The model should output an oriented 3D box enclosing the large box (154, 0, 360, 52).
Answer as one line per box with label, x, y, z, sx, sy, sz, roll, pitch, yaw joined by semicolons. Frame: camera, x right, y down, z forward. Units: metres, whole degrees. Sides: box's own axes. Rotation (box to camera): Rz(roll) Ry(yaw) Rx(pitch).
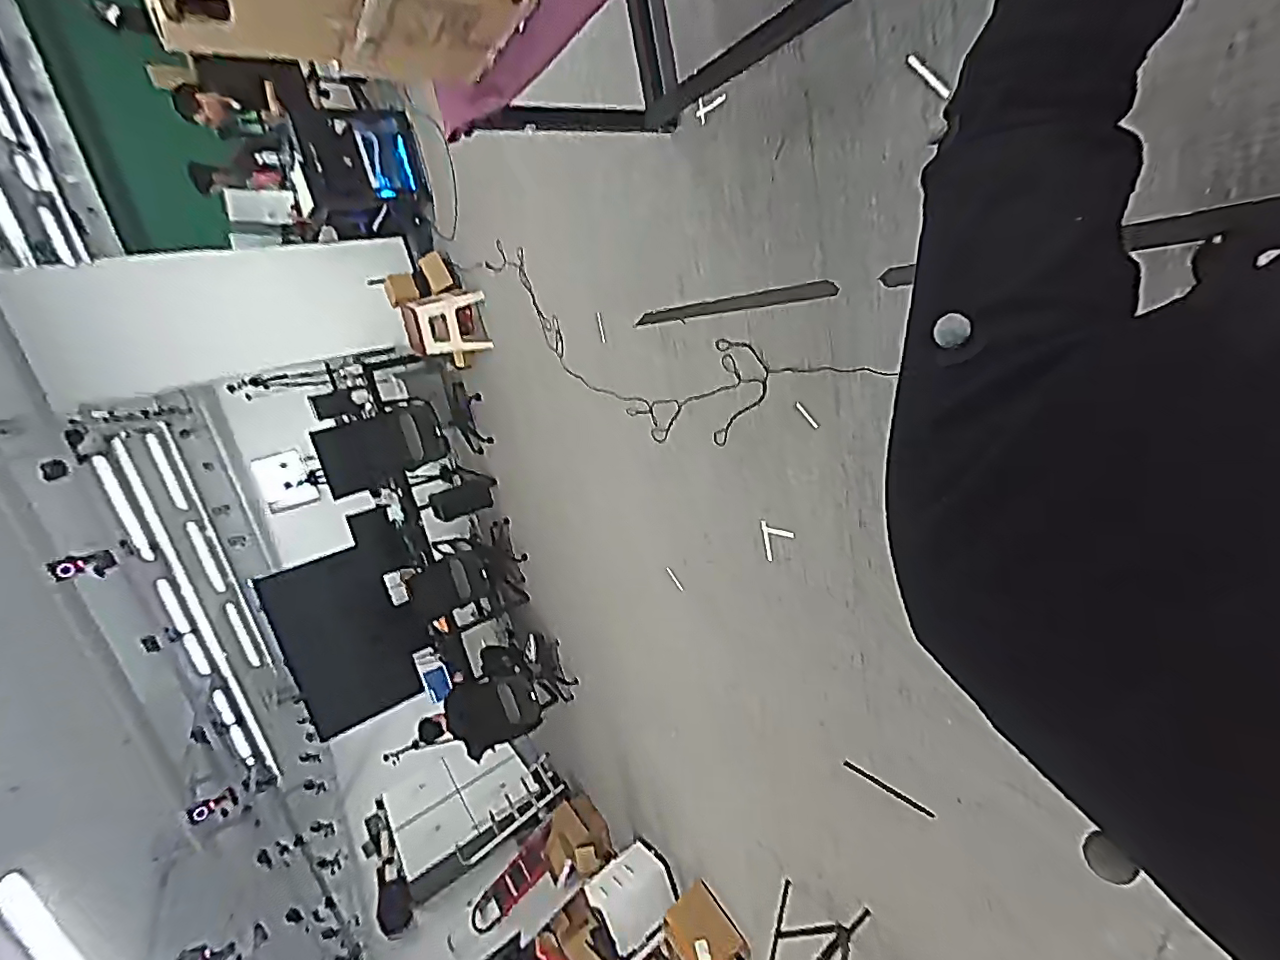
large box;-0.701;-1.026;0.897;0.320;0.320;0.408;14;121;56
